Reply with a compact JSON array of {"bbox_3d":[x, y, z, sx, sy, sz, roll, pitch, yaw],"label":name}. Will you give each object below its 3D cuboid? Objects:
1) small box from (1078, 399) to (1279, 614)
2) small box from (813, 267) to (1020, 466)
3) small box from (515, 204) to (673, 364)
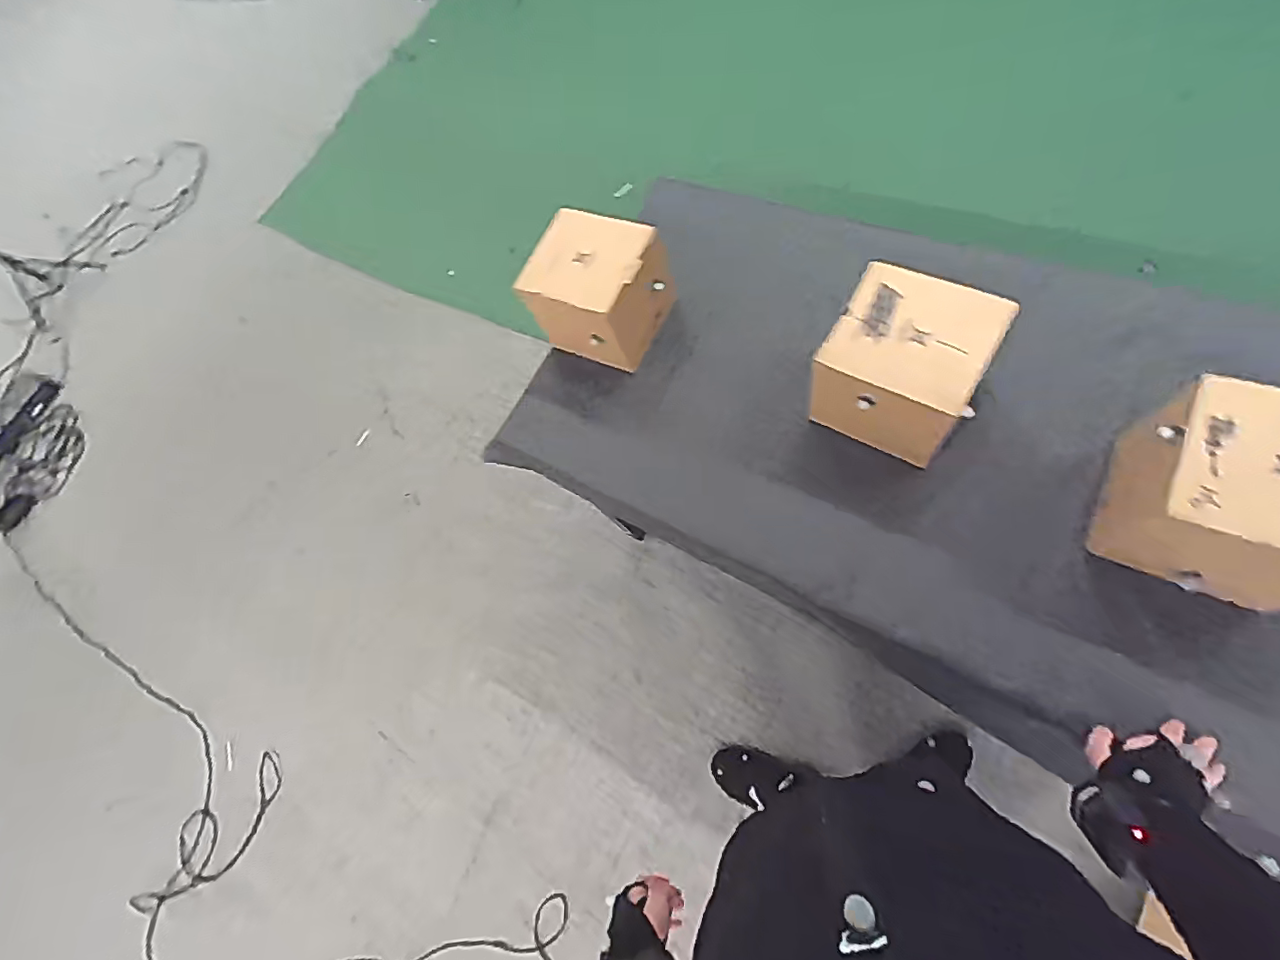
[{"bbox_3d":[0.640,0.038,0.596,0.179,0.176,0.168,20,78,22],"label":"small box"},{"bbox_3d":[0.349,-0.142,0.723,0.179,0.176,0.168,33,83,24],"label":"small box"},{"bbox_3d":[-0.064,-0.314,0.888,0.179,0.176,0.168,22,76,23],"label":"small box"}]
